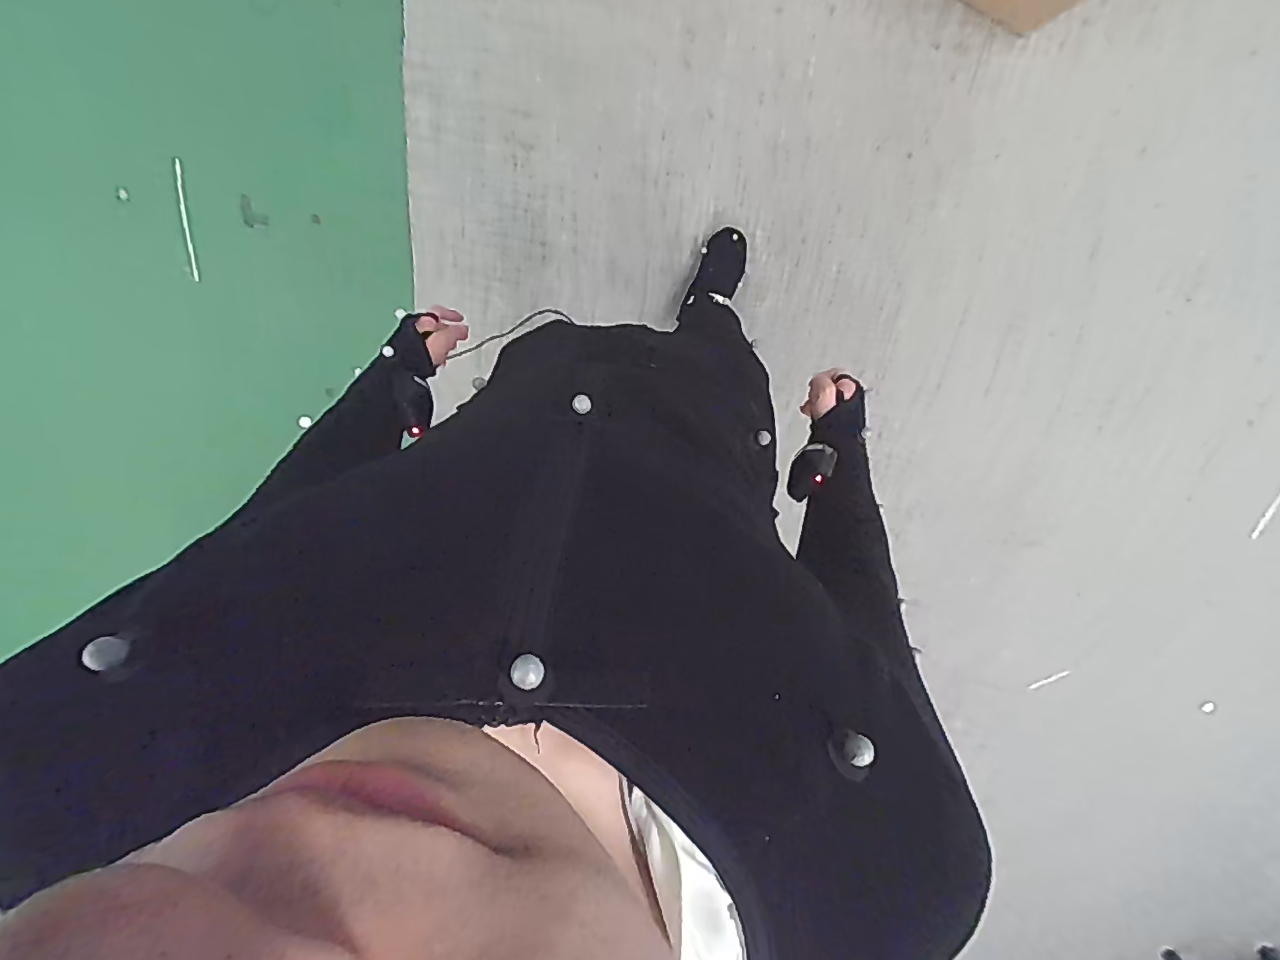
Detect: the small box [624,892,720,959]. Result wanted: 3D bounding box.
[{"bbox_3d":[0.073,1.116,1.278,0.168,0.176,0.179,-37,105,19],"label":"small box"}]
